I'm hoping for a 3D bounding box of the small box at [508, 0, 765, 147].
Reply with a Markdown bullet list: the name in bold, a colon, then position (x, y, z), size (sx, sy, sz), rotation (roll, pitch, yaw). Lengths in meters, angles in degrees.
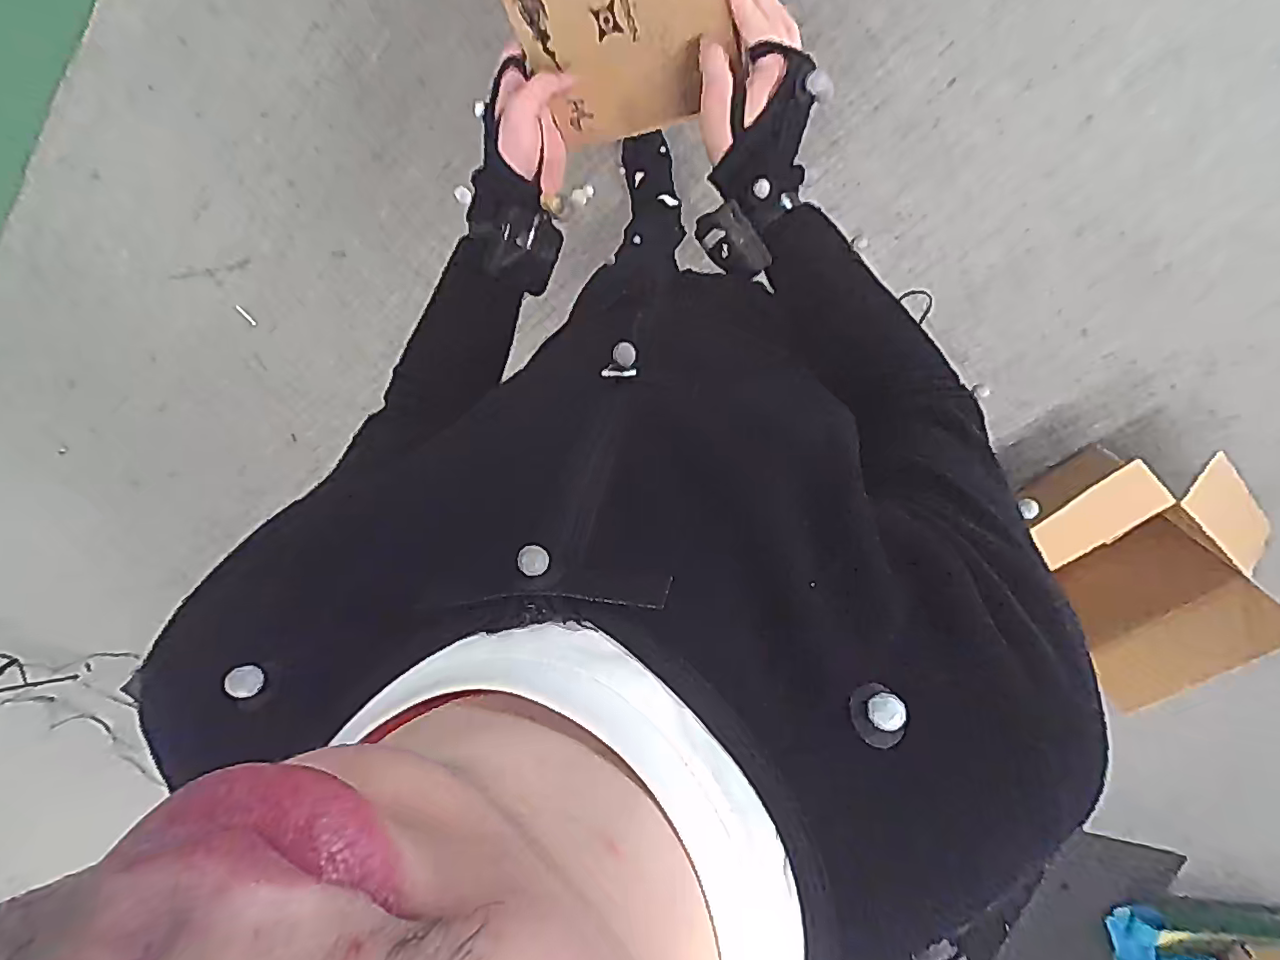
- **small box**: position (0.005, -0.423, 0.454), size (0.179, 0.176, 0.168), rotation (2, 147, 24)
